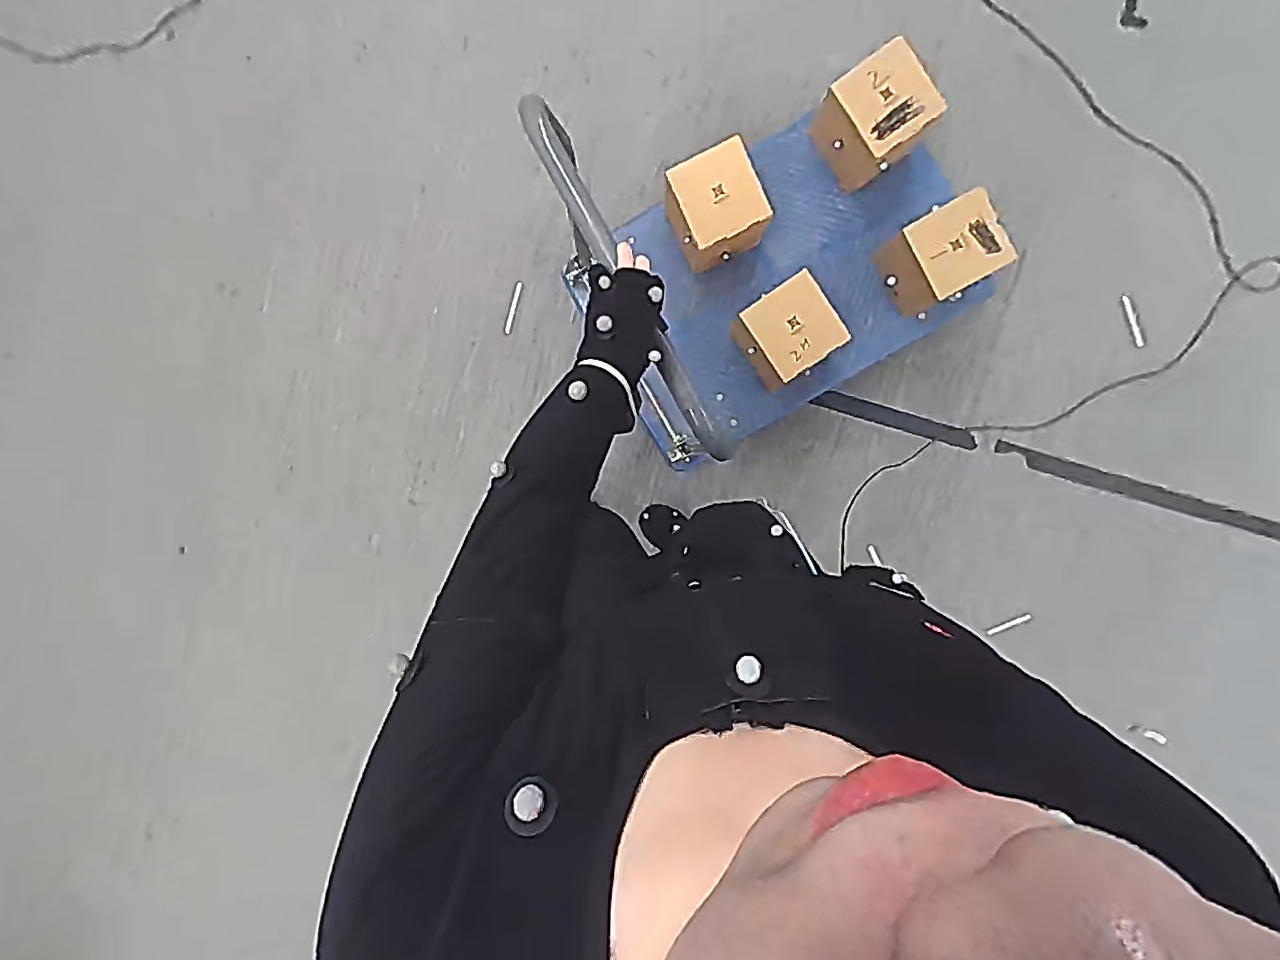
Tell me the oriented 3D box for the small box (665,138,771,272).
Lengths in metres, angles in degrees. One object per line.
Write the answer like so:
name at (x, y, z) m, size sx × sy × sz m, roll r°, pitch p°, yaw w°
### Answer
small box at (0.160, -0.585, 1.176) m, size 0.168 × 0.176 × 0.179 m, roll -25°, pitch 94°, yaw 4°

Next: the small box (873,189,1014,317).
small box at (0.642, -0.477, 1.165) m, size 0.179 × 0.176 × 0.168 m, roll -28°, pitch 93°, yaw 5°

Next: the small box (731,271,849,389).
small box at (0.318, -0.319, 1.190) m, size 0.168 × 0.176 × 0.179 m, roll -34°, pitch 92°, yaw 4°
